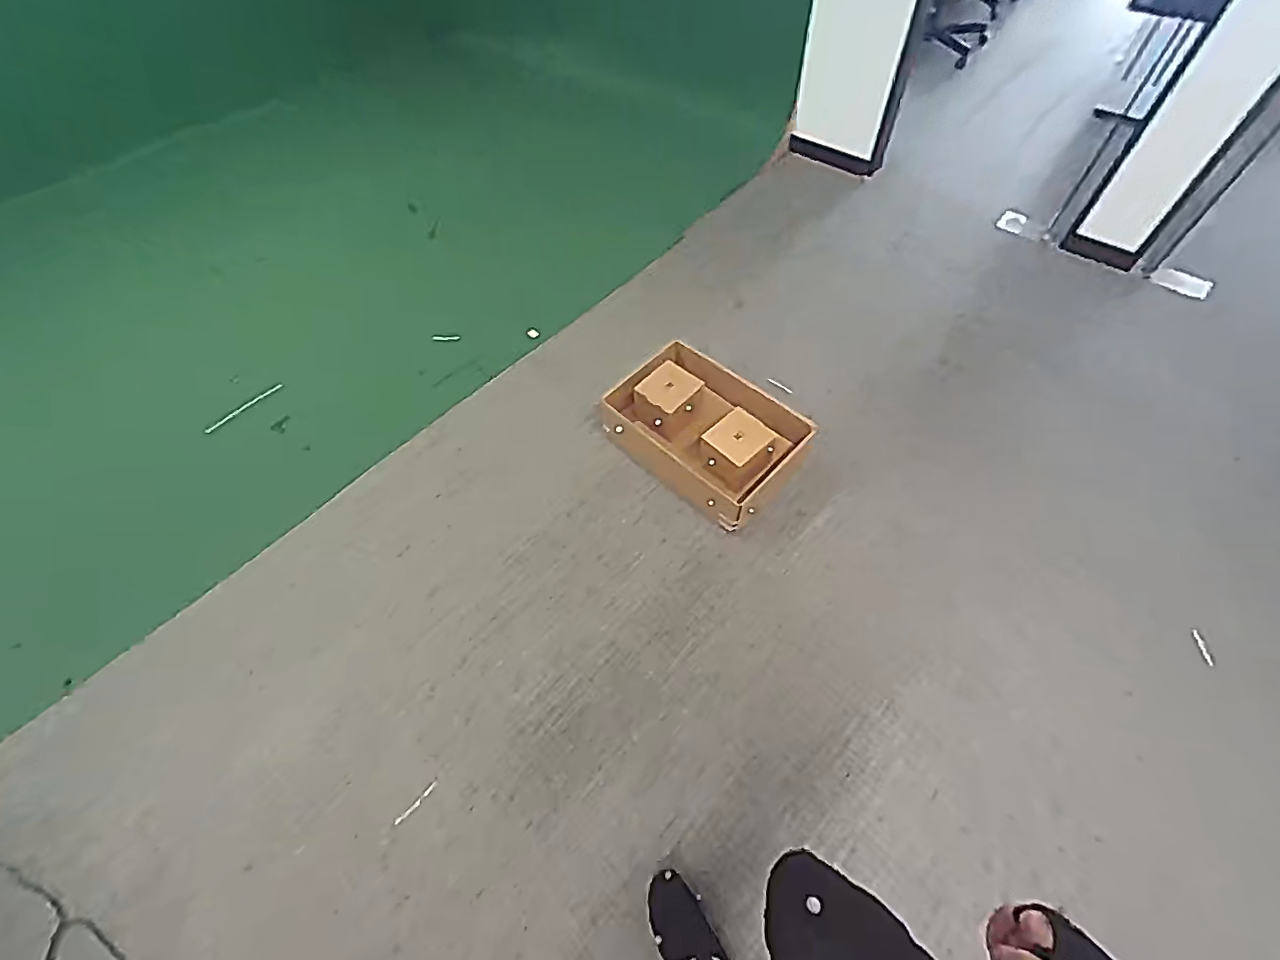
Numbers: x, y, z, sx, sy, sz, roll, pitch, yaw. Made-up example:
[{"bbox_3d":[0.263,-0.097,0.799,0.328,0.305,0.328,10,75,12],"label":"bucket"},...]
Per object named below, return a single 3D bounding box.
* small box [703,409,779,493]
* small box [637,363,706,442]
[{"bbox_3d":[0.322,-0.089,1.745,0.179,0.176,0.168,-39,63,-18],"label":"small box"},{"bbox_3d":[0.112,-0.263,1.870,0.168,0.176,0.179,38,68,23],"label":"small box"}]
